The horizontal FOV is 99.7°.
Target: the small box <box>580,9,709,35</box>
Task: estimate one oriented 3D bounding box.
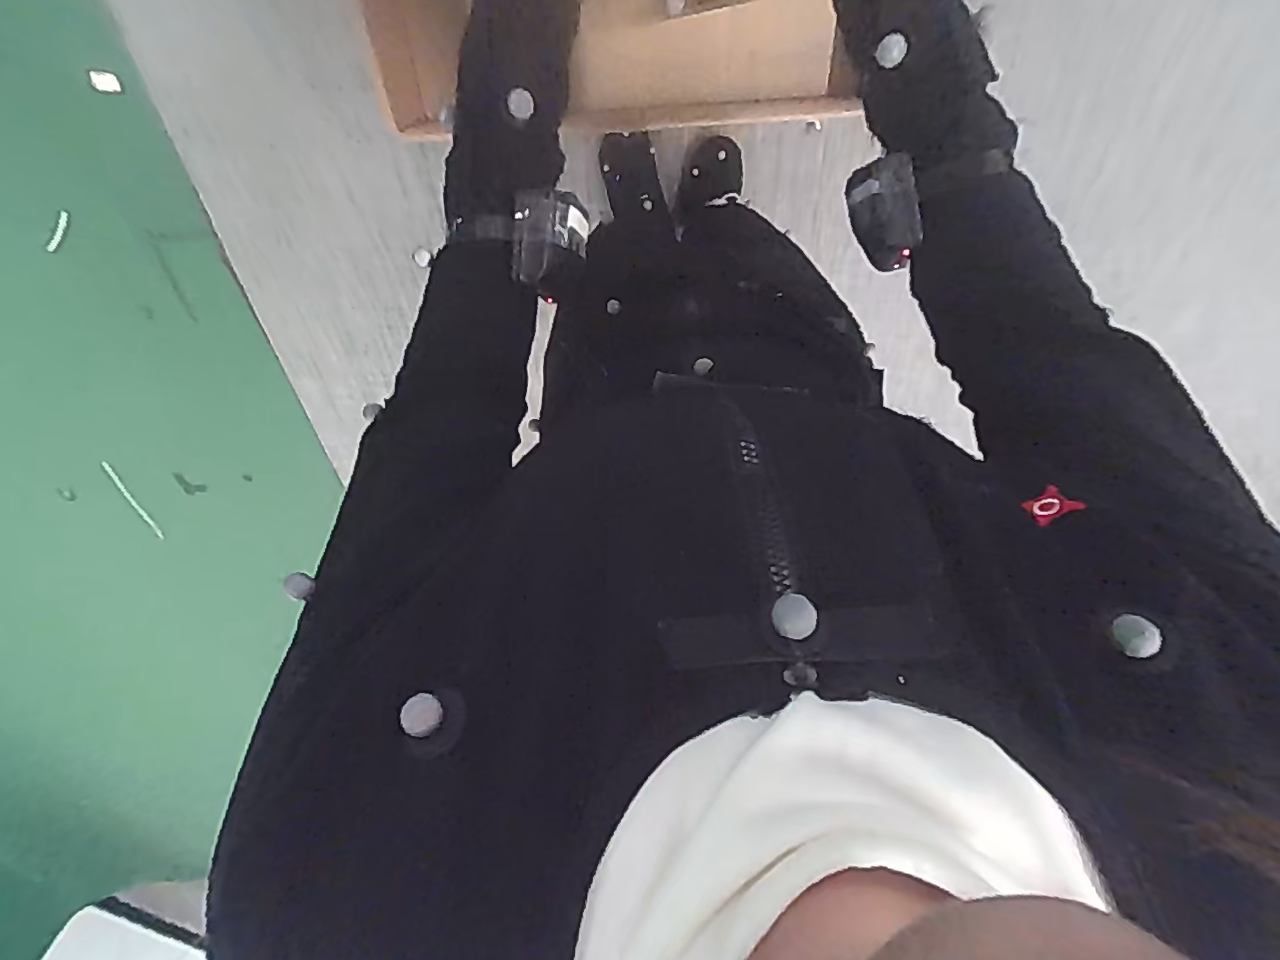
[{"bbox_3d":[0.006,-0.602,0.572,0.168,0.176,0.179,-8,127,6],"label":"small box"}]

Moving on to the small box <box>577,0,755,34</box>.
[{"bbox_3d":[0.014,-0.442,0.347,0.168,0.176,0.179,-8,108,6],"label":"small box"}]
